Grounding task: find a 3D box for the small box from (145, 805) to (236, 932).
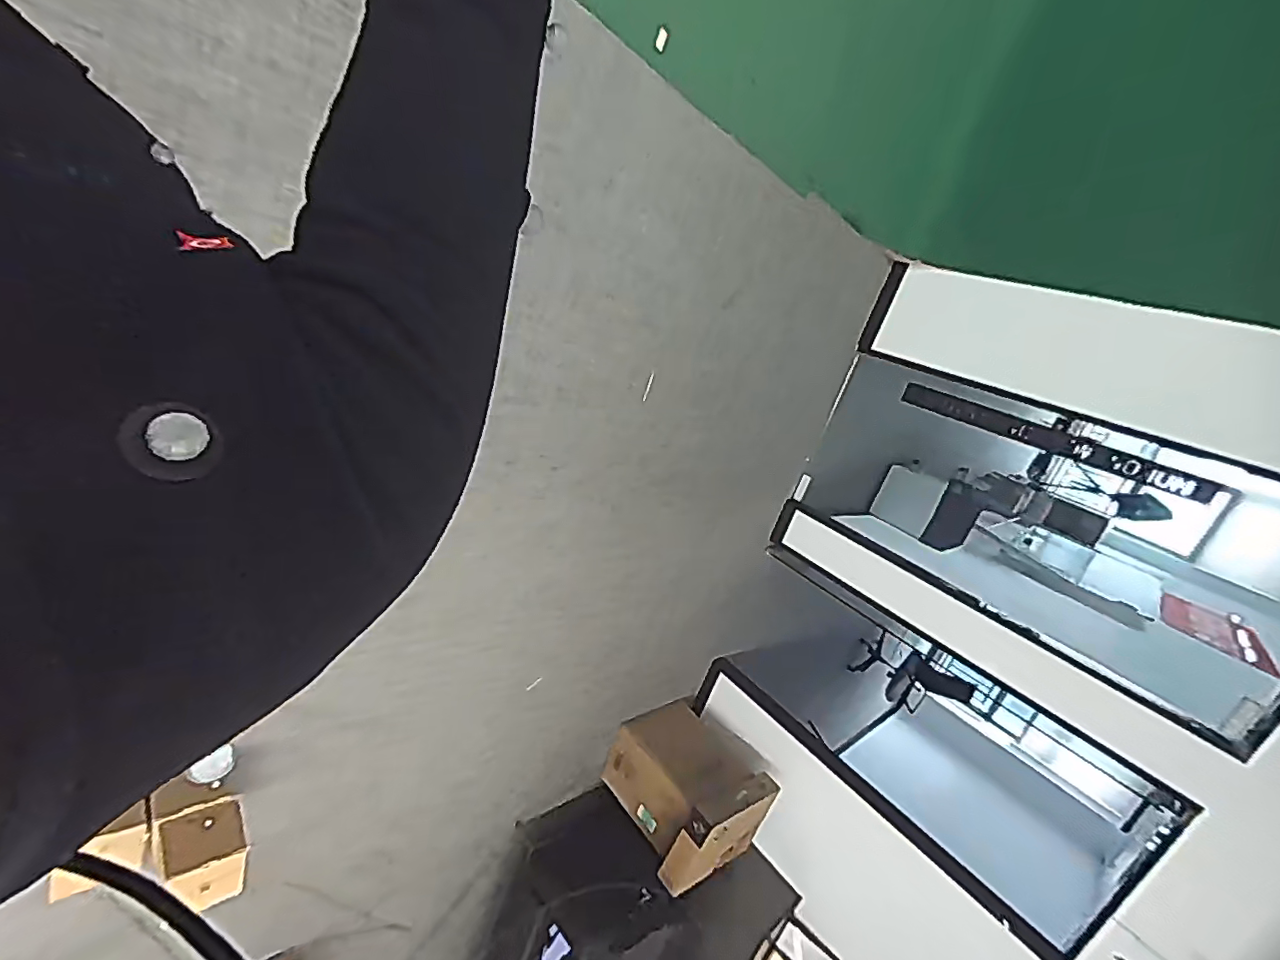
[{"bbox_3d":[-1.175,1.001,1.410,0.168,0.176,0.179,0,115,-45],"label":"small box"}]
